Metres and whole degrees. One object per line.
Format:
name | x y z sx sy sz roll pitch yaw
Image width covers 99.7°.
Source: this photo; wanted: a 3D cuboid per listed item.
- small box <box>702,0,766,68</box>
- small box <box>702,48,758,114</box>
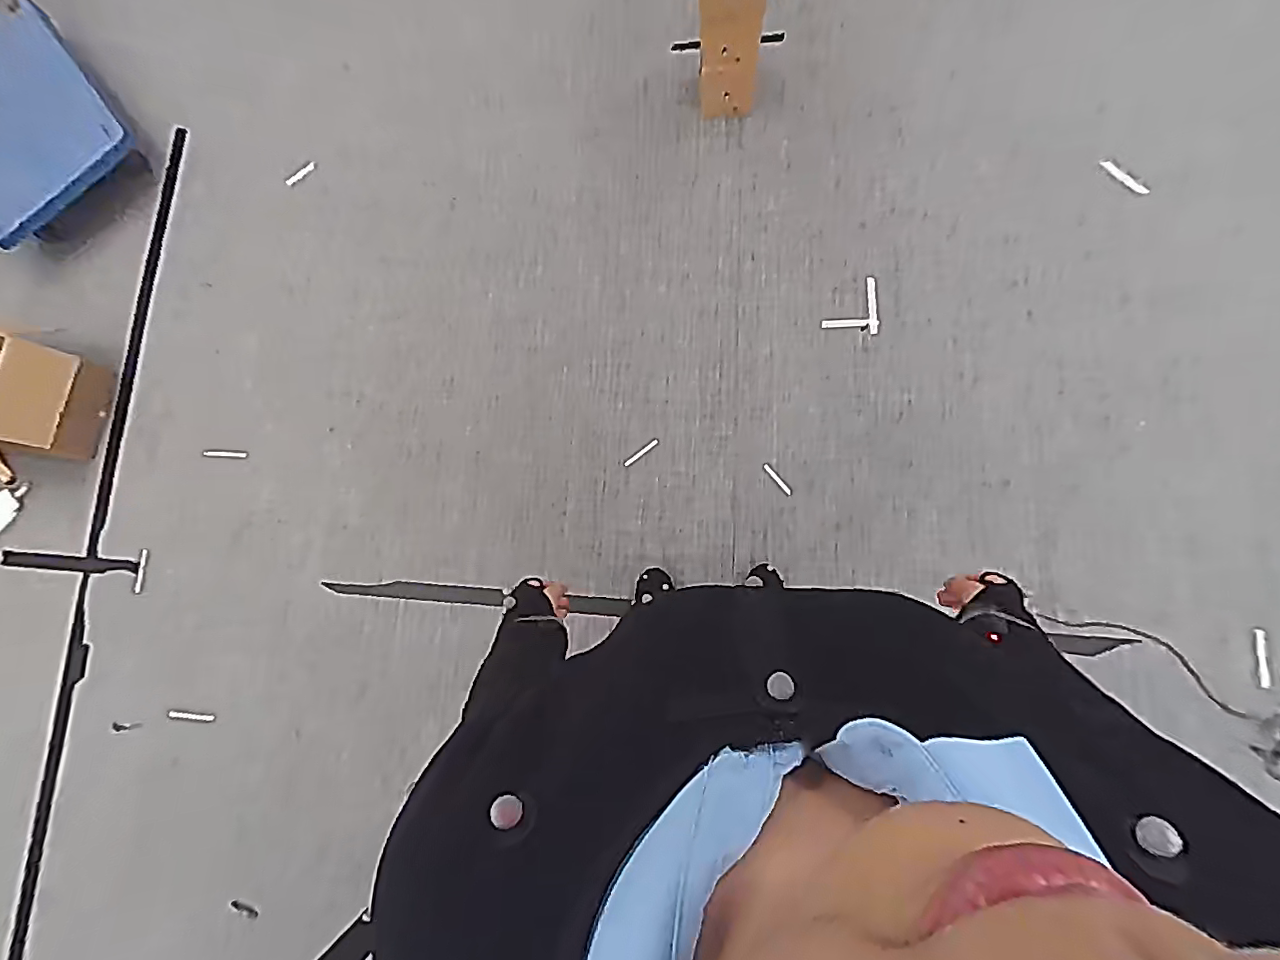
small box | 0.259 -1.296 1.502 0.168 0.176 0.179 2 82 8
small box | 0.275 -1.261 1.660 0.168 0.176 0.179 0 80 7
